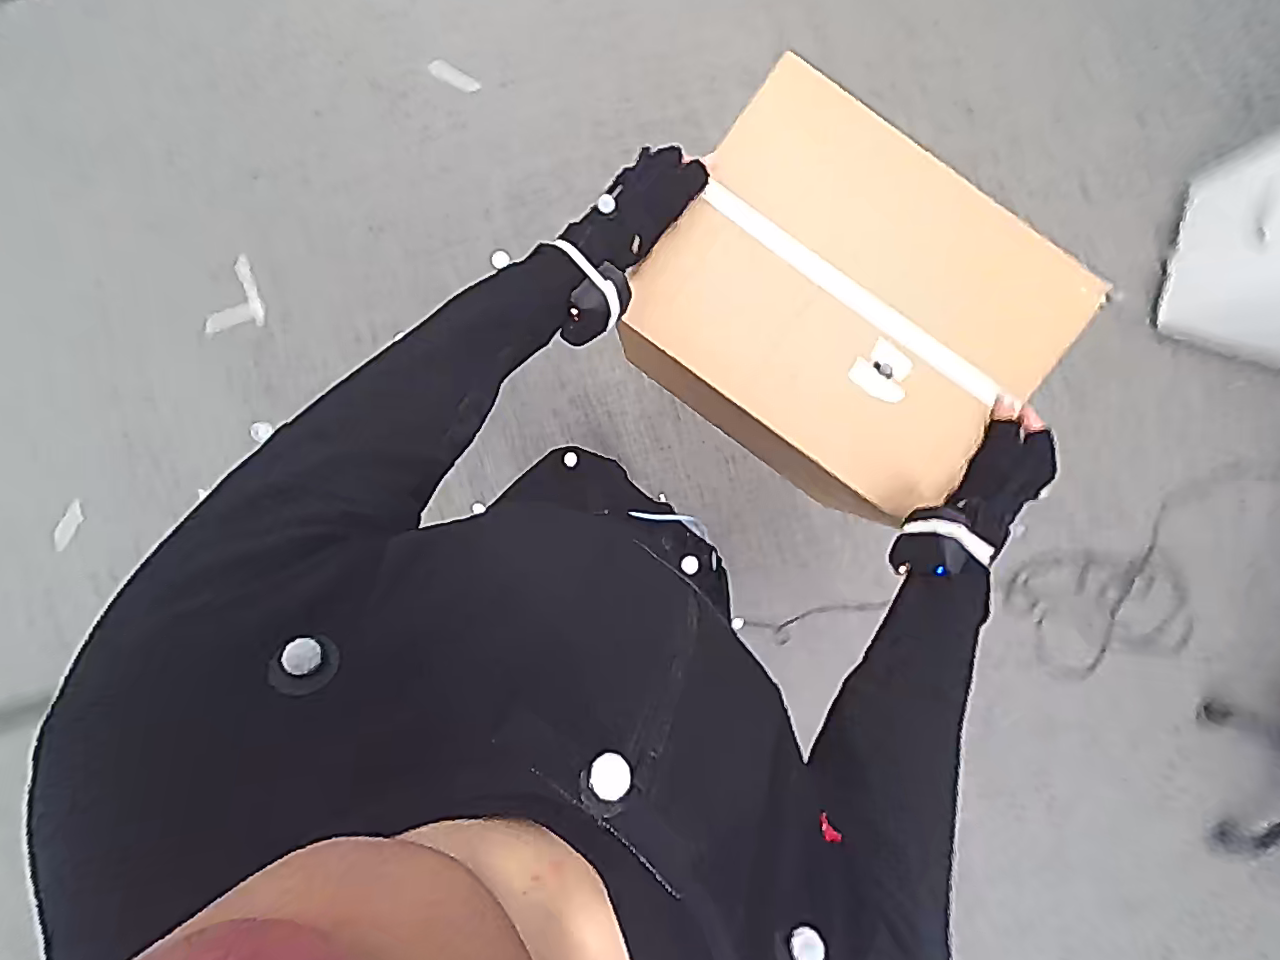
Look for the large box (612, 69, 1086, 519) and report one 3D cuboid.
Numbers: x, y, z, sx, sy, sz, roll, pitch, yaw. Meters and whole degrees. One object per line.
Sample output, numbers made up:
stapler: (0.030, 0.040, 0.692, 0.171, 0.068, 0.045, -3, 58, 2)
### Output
large box: (0.216, -0.199, 0.712, 0.408, 0.320, 0.320, 35, 94, -1)
